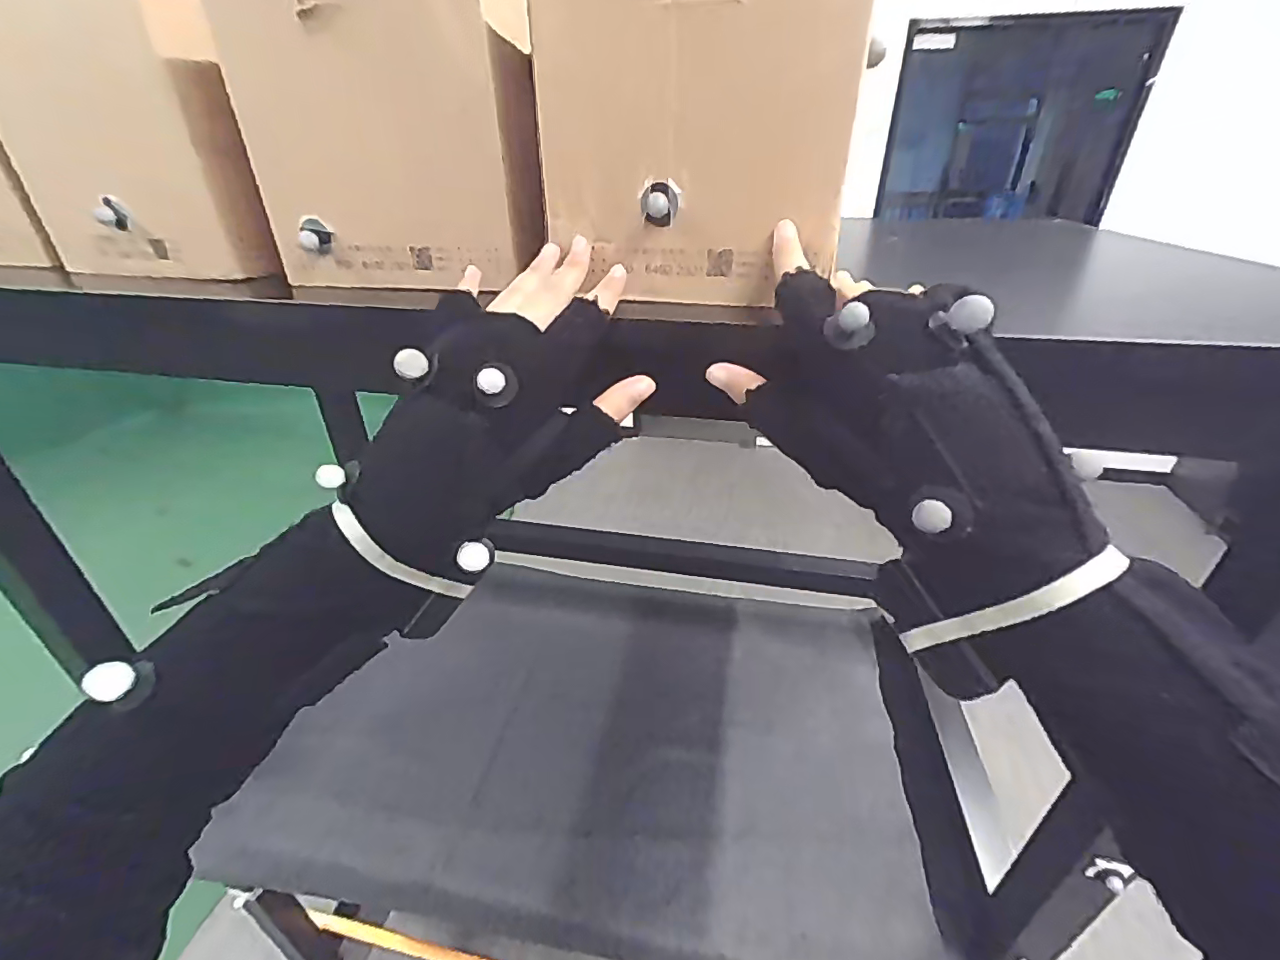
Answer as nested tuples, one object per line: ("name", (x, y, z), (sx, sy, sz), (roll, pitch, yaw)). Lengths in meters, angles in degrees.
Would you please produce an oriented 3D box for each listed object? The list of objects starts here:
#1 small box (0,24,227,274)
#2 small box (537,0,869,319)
("small box", (-0.530, -0.287, 0.486), (0.168, 0.176, 0.179), (7, 31, 10))
("small box", (0.043, -0.215, 0.359), (0.168, 0.176, 0.179), (6, 31, 12))
